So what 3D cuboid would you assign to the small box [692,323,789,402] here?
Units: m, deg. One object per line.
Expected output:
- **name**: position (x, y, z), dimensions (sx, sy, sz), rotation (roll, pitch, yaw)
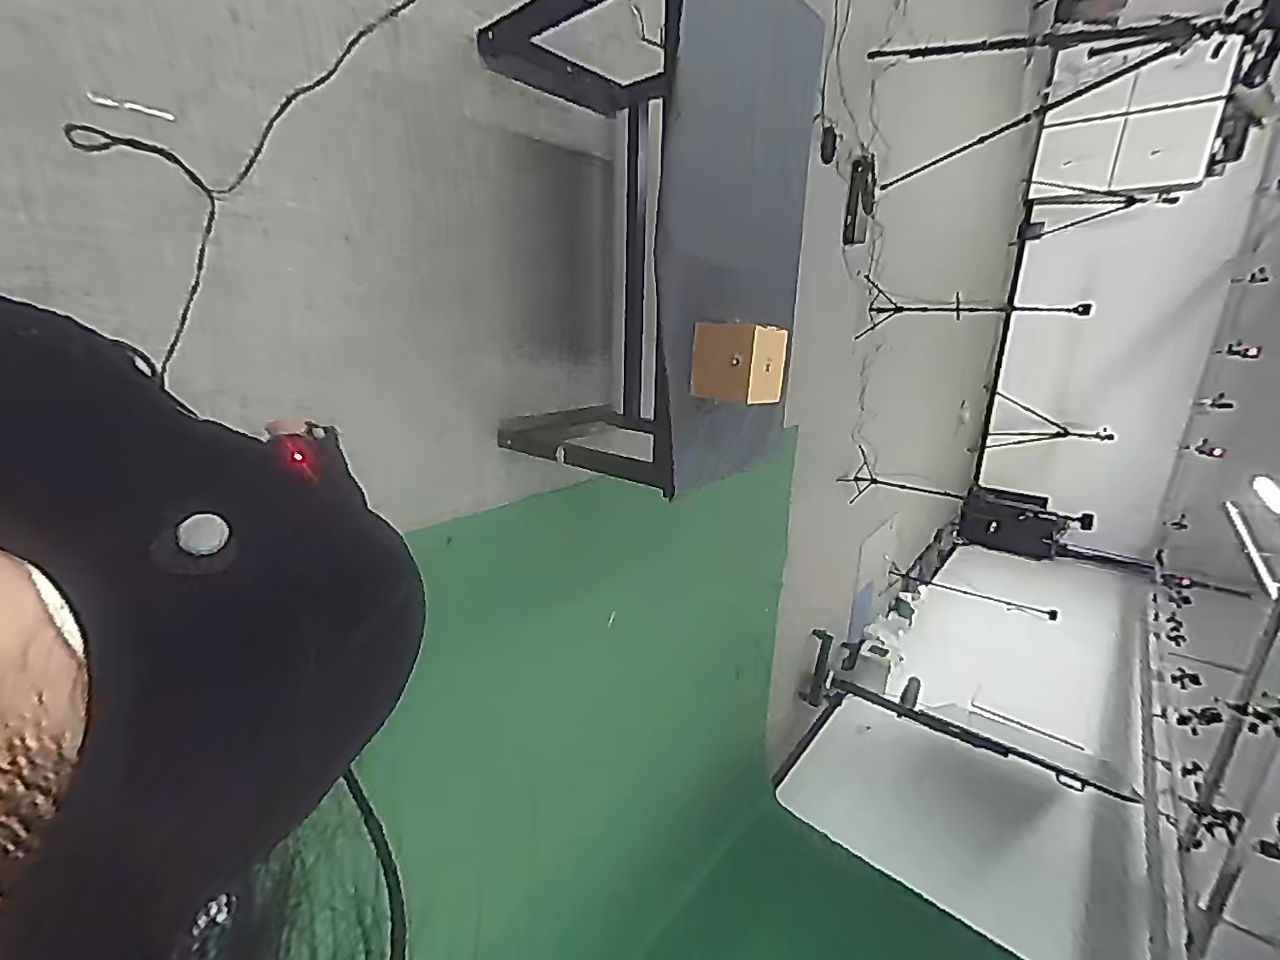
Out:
- **small box**: position (0.241, -0.286, 1.309), dimensions (0.168, 0.176, 0.179), rotation (-12, 111, -48)
